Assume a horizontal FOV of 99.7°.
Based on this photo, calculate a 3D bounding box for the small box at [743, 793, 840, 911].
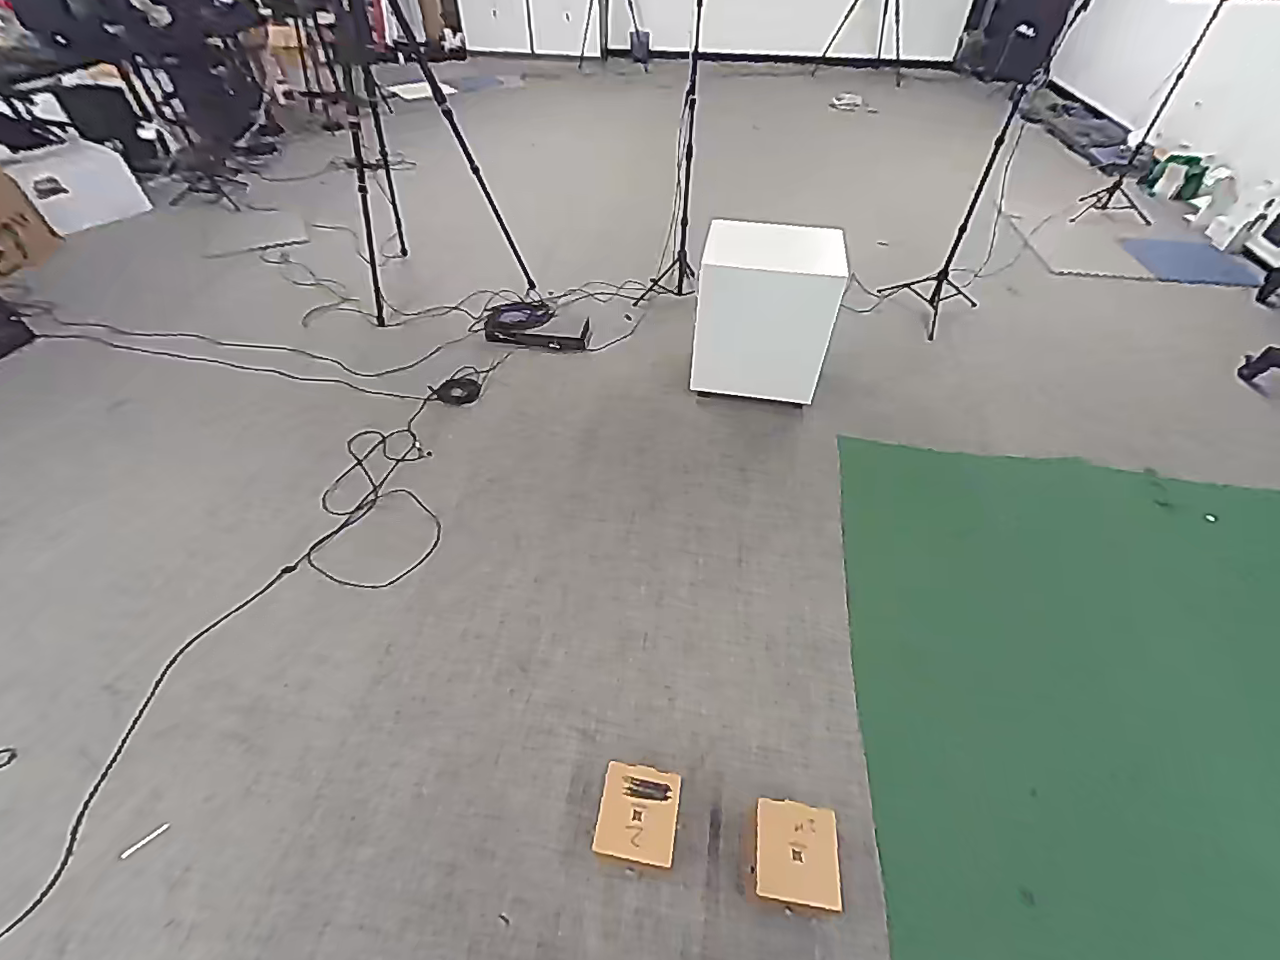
[{"bbox_3d":[0.319,0.801,1.161,0.168,0.176,0.179,8,48,5],"label":"small box"}]
